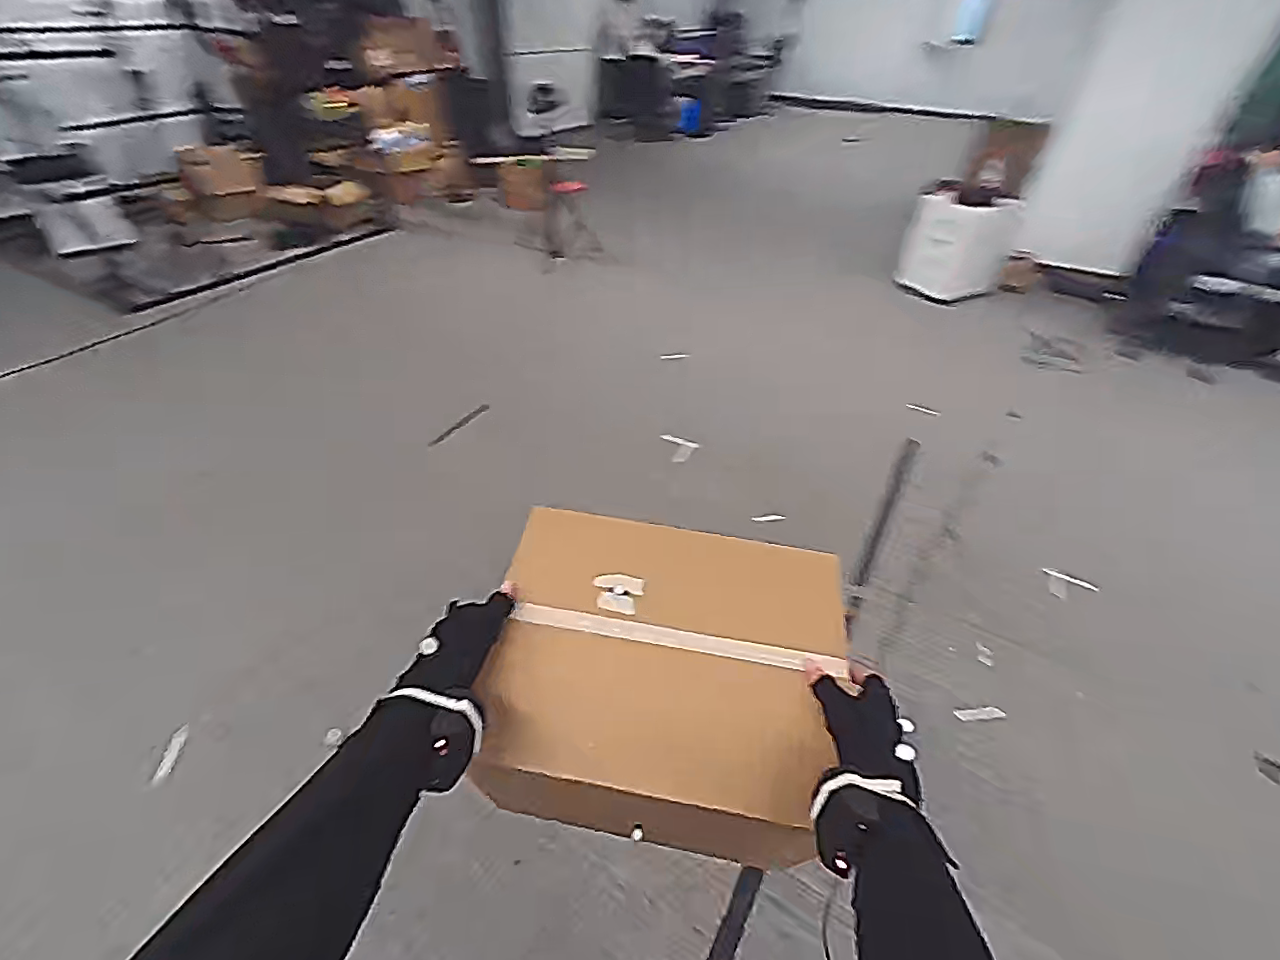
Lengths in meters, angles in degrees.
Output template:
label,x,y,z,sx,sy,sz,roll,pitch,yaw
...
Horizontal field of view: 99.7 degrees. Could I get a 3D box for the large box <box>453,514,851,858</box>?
label,x,y,z,sx,sy,sz,roll,pitch,yaw
large box,0.028,0.283,0.736,0.408,0.320,0.320,9,49,6
